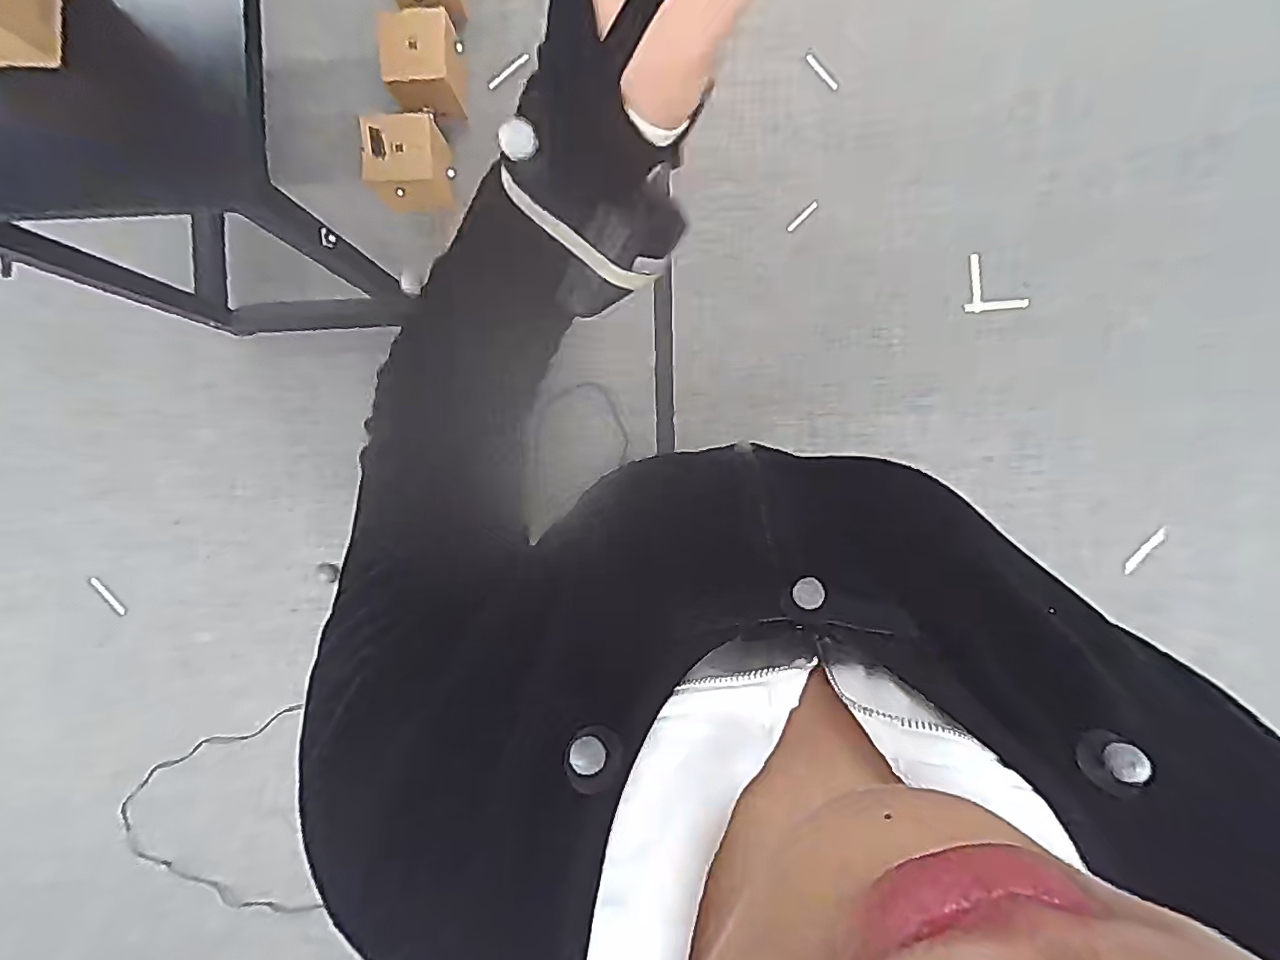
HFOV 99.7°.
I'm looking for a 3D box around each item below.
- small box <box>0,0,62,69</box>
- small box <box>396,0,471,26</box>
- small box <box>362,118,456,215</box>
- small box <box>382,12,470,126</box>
[{"bbox_3d":[-0.921,-0.678,0.706,0.179,0.176,0.168,1,90,1],"label":"small box"},{"bbox_3d":[-0.561,-1.336,1.418,0.179,0.176,0.168,-3,91,2],"label":"small box"},{"bbox_3d":[-0.603,-0.819,1.427,0.179,0.176,0.168,-2,91,0],"label":"small box"},{"bbox_3d":[-0.557,-1.073,1.424,0.168,0.176,0.179,-3,91,2],"label":"small box"}]
